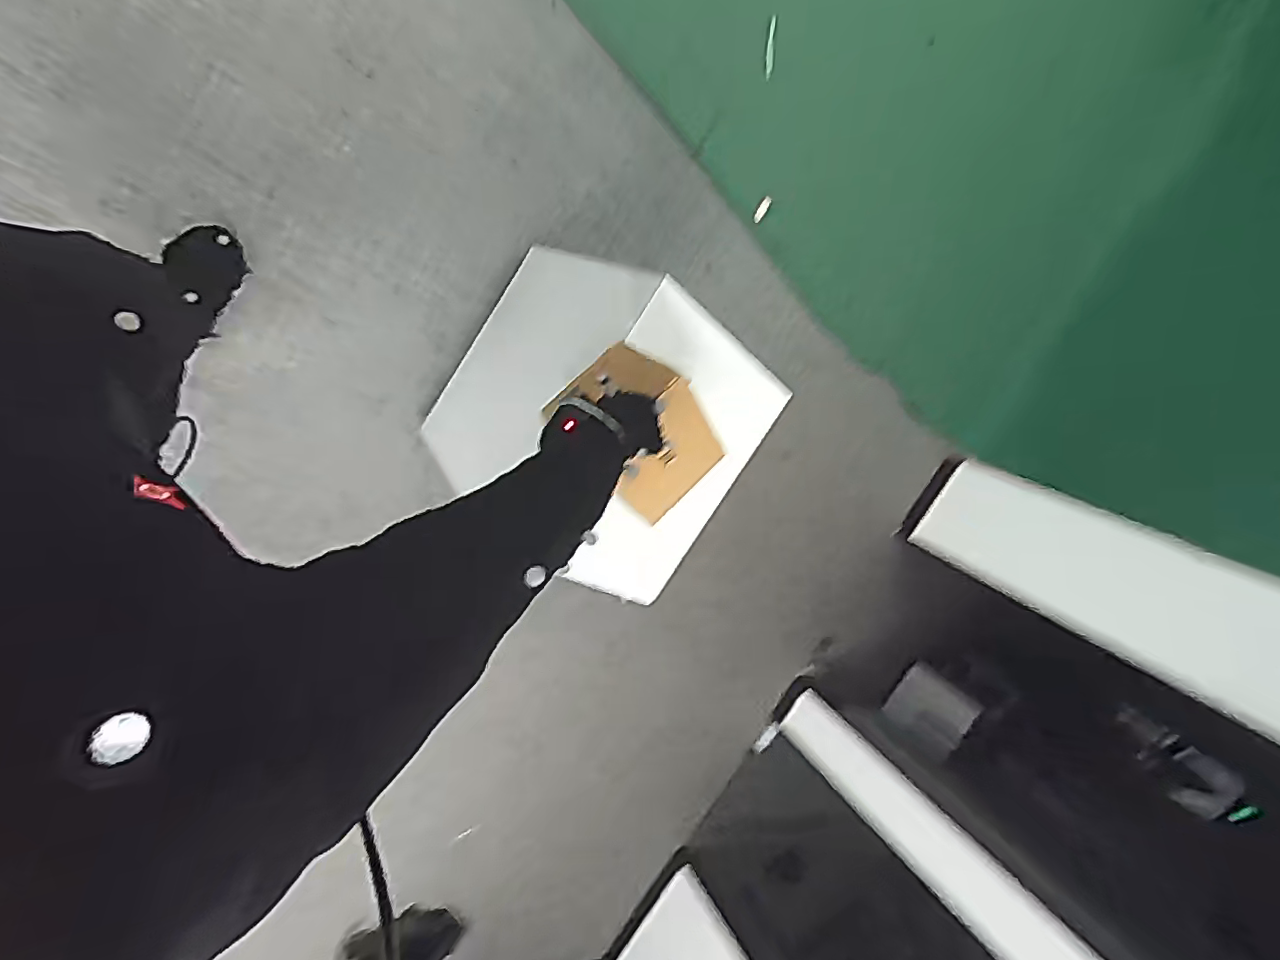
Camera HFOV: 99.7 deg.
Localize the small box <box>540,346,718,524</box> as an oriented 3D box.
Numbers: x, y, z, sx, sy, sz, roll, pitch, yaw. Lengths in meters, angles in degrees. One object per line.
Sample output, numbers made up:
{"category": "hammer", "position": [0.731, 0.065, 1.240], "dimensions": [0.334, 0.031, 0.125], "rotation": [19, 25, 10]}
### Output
{"category": "small box", "position": [-0.017, -0.073, 0.814], "dimensions": [0.168, 0.176, 0.179], "rotation": [-44, 134, -7]}
